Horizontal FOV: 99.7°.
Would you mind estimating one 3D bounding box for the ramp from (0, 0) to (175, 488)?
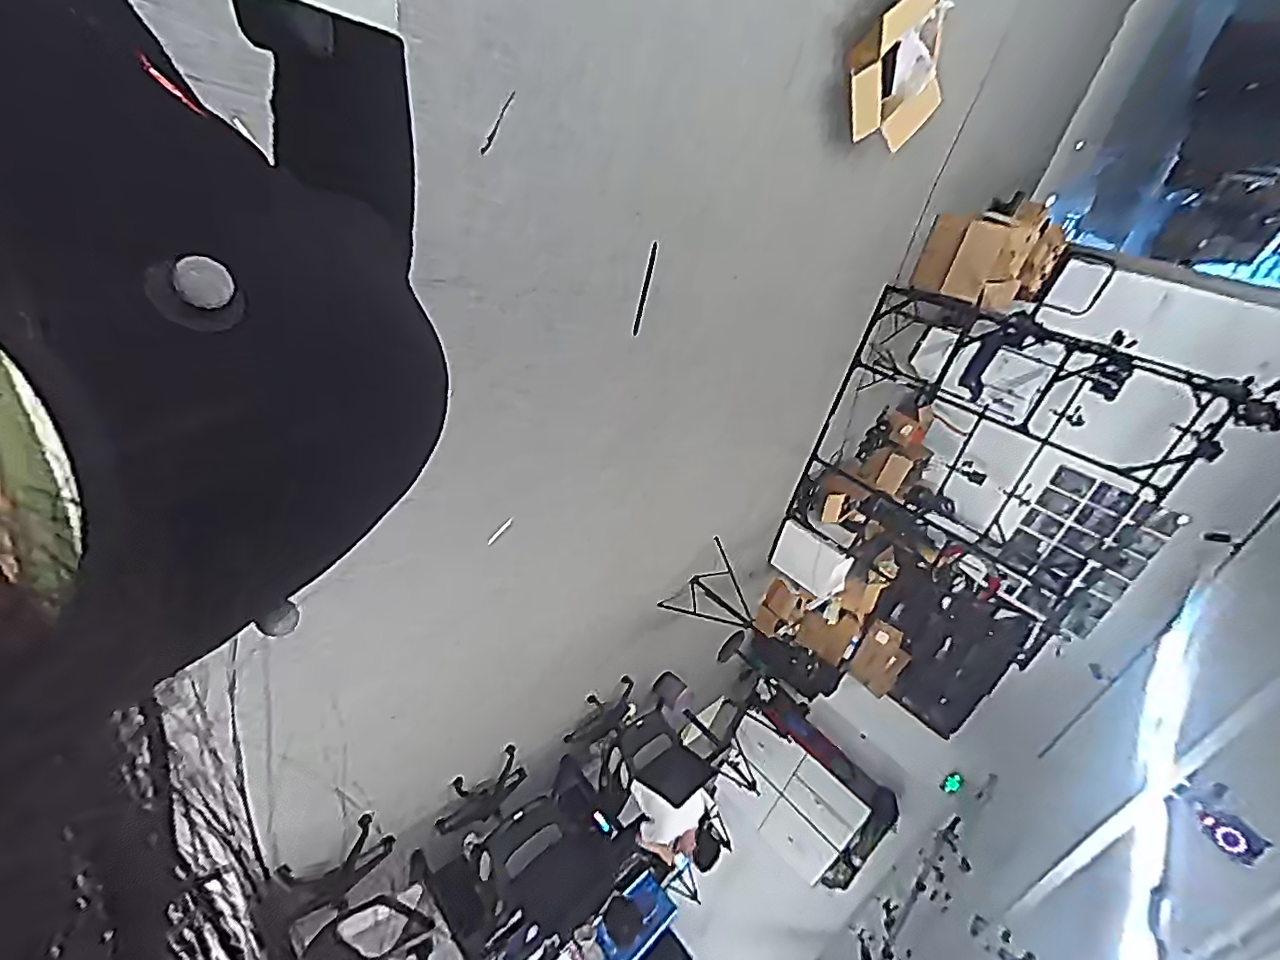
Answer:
[{"bbox_3d":[-1.238,-0.373,1.018,0.509,0.206,0.991,-17,132,-45],"label":"ramp"}]
